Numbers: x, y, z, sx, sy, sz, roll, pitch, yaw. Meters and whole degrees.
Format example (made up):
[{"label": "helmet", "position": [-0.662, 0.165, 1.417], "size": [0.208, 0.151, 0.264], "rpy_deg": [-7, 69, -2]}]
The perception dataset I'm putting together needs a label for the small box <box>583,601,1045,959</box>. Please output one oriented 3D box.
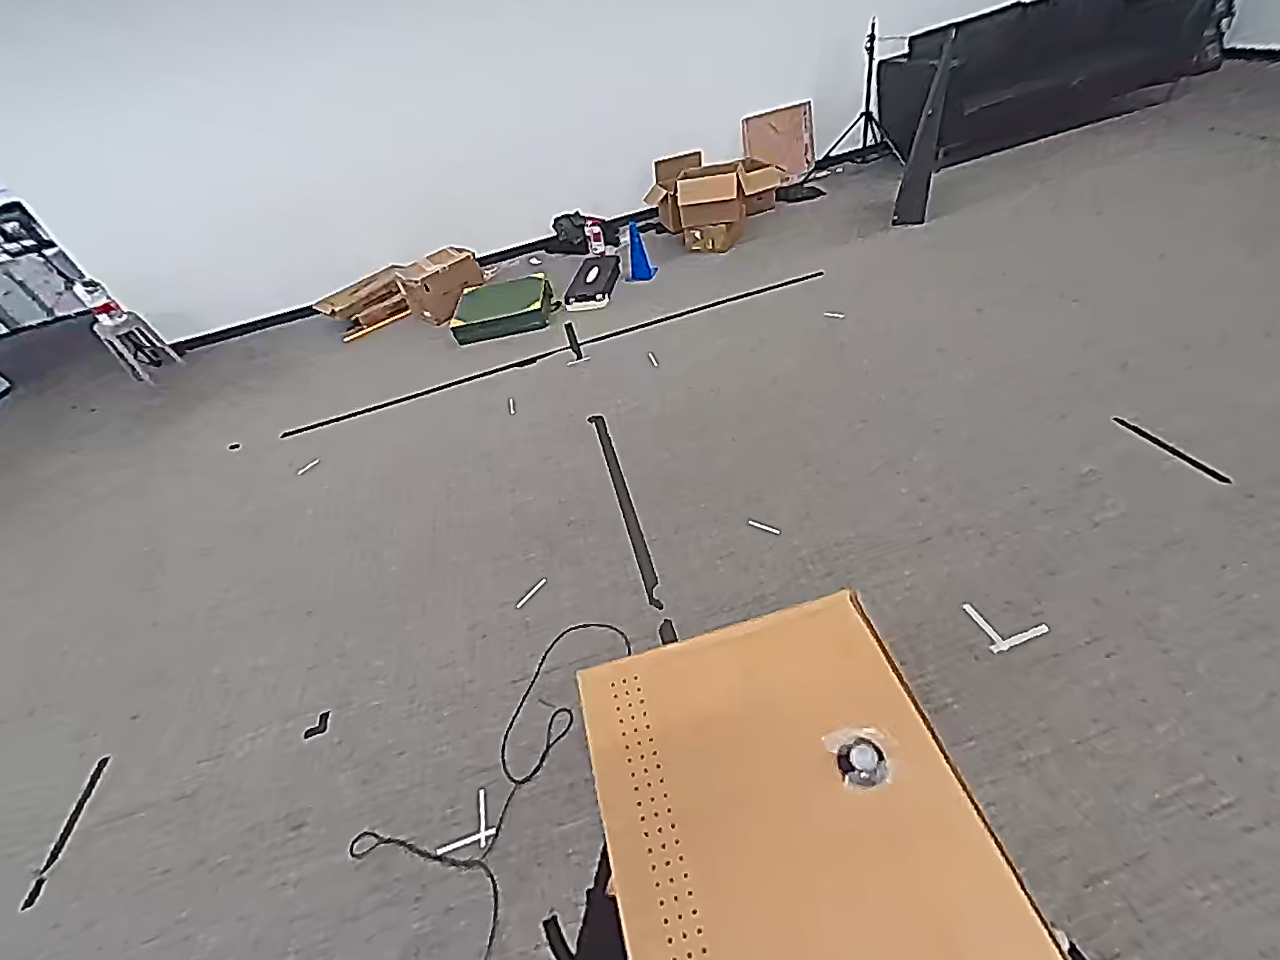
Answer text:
[{"label": "small box", "position": [0.071, 0.205, 0.322], "size": [0.176, 0.168, 0.179], "rpy_deg": [-16, 50, -3]}]
